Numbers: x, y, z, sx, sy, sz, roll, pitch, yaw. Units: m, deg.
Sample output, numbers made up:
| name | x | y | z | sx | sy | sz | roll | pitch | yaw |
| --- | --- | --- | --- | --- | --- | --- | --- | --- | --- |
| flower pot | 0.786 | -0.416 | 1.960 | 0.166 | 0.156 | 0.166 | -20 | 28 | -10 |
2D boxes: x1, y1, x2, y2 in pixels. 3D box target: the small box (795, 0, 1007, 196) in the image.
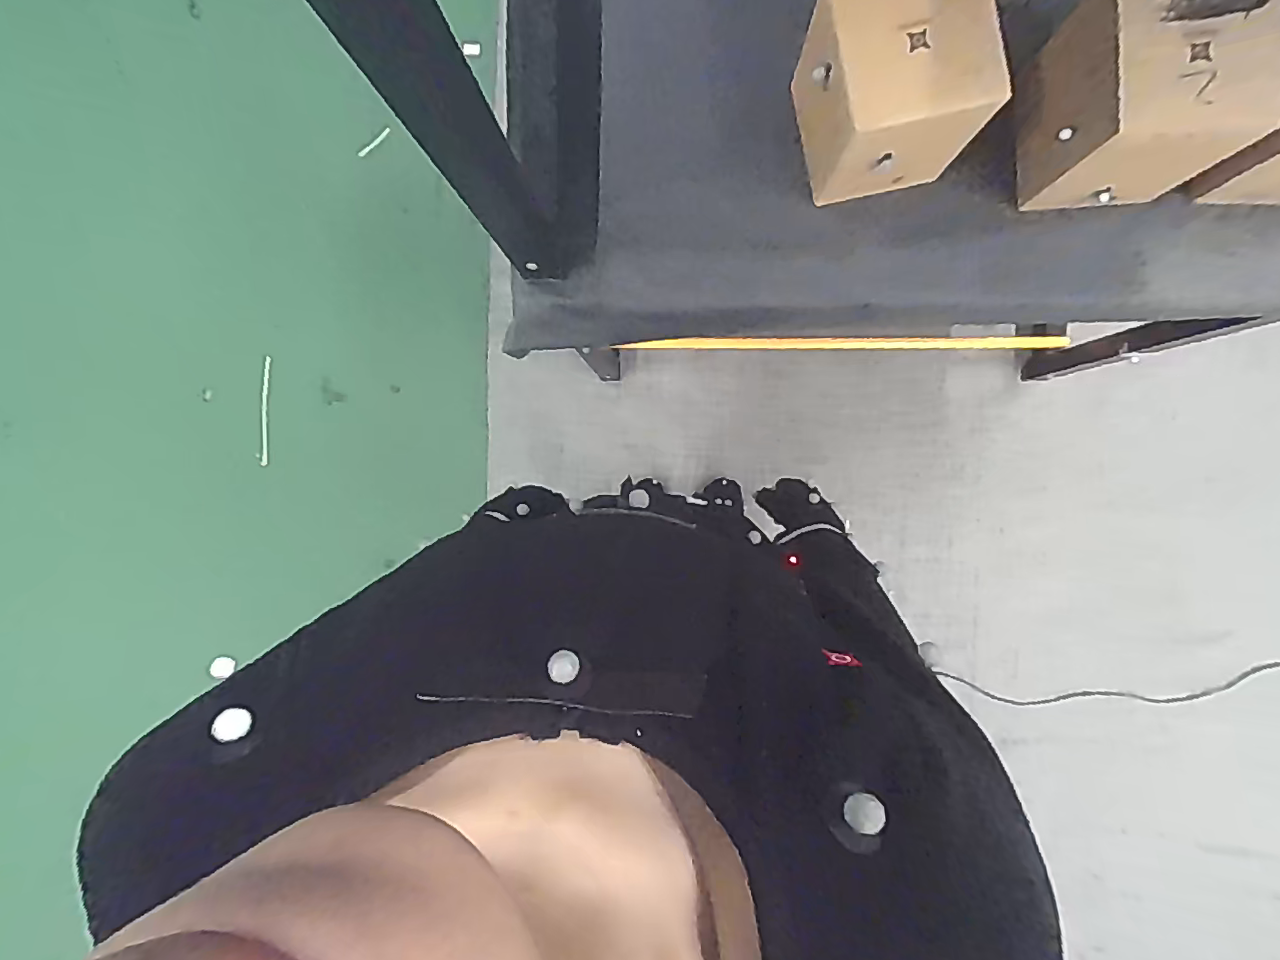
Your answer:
| name | x | y | z | sx | sy | sz | roll | pitch | yaw |
| --- | --- | --- | --- | --- | --- | --- | --- | --- | --- |
| small box | 0.297 | -0.470 | 0.652 | 0.168 | 0.176 | 0.179 | -10 | 90 | 4 |
